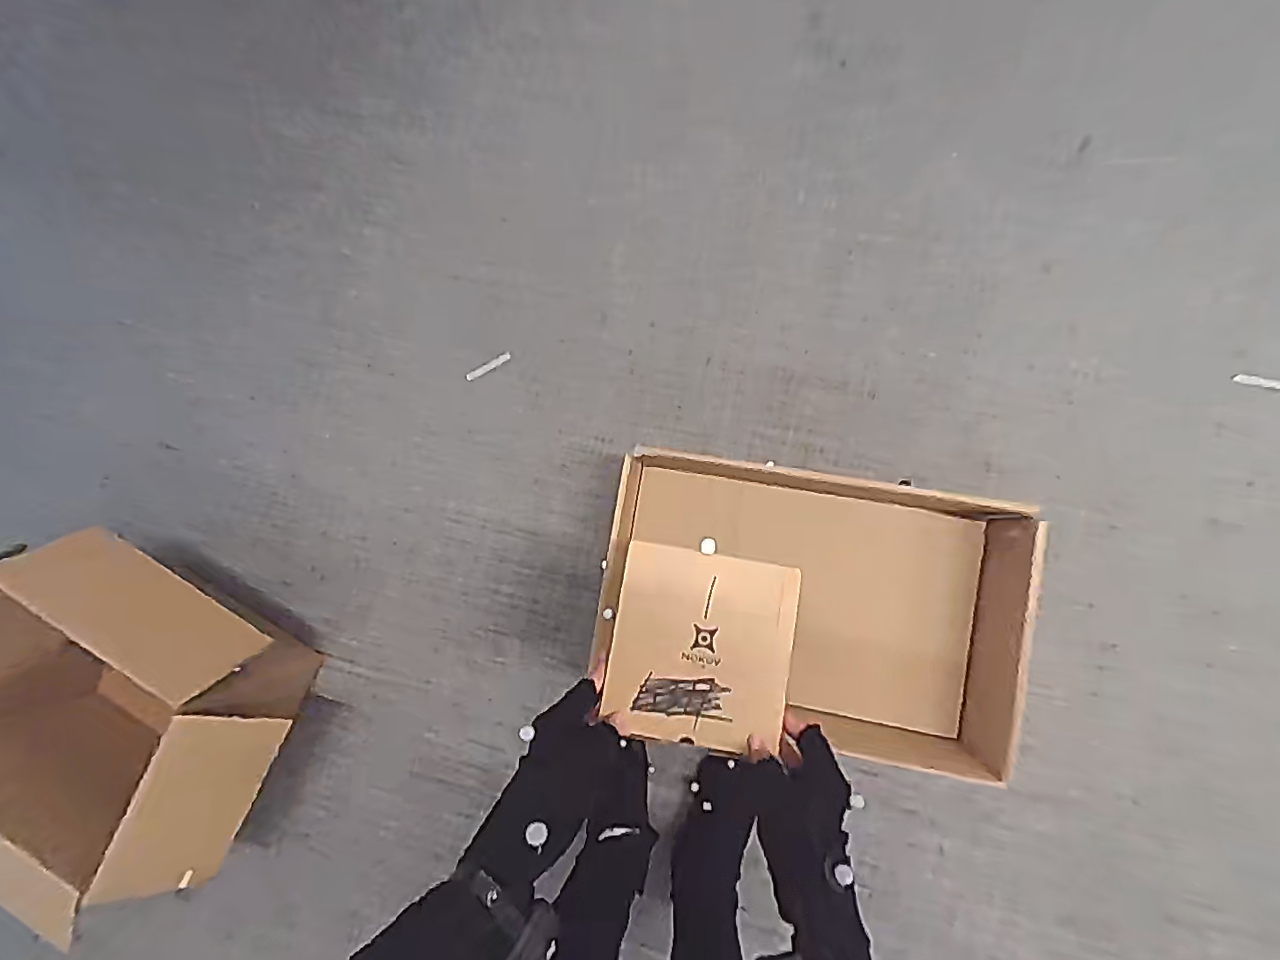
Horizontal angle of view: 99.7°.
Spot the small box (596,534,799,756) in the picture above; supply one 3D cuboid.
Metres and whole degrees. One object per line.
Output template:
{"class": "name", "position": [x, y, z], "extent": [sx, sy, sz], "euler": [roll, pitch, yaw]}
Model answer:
{"class": "small box", "position": [0.055, 0.162, 0.578], "extent": [0.168, 0.176, 0.179], "euler": [10, 80, 1]}
